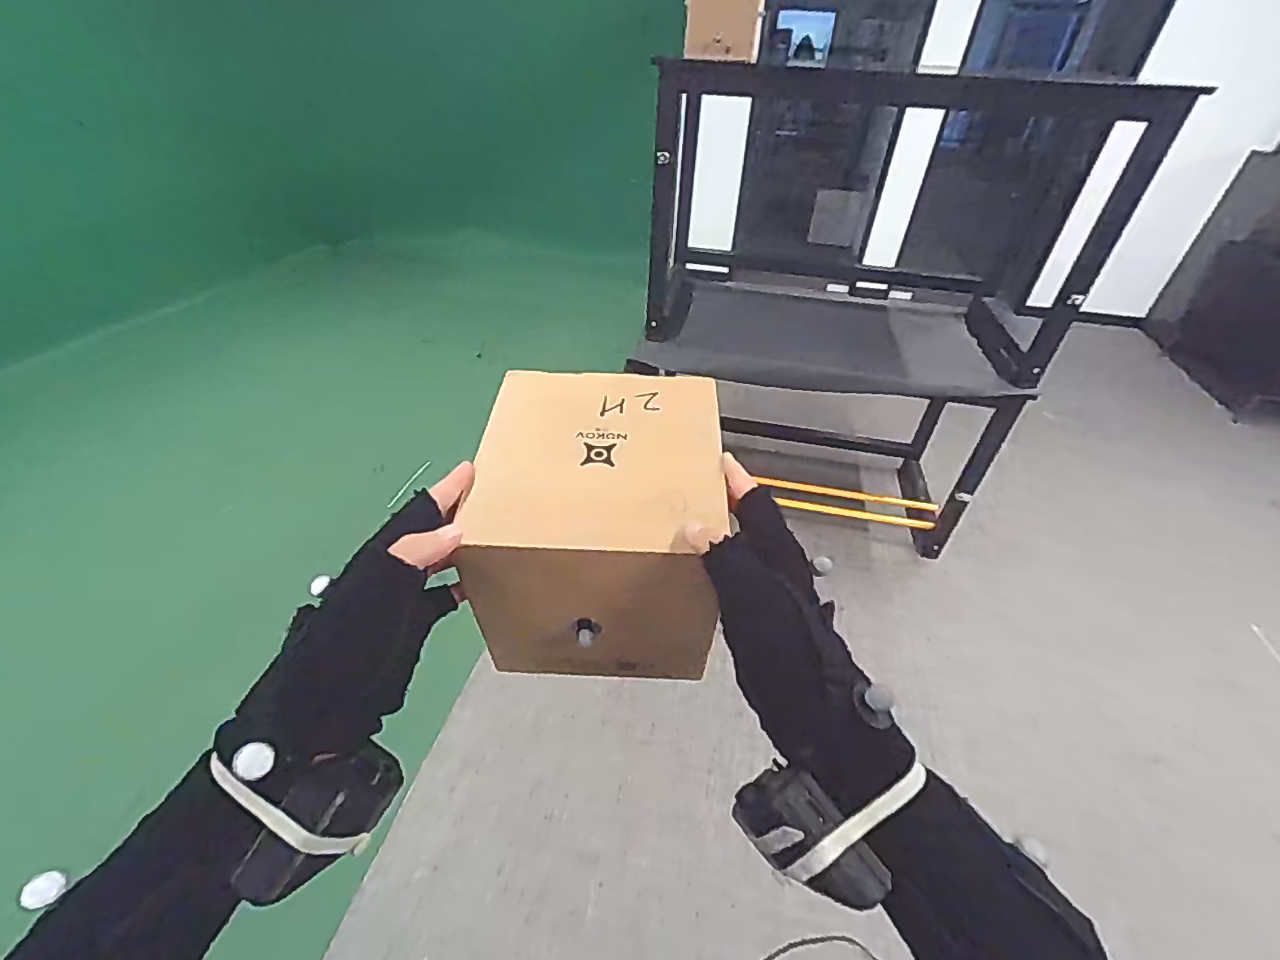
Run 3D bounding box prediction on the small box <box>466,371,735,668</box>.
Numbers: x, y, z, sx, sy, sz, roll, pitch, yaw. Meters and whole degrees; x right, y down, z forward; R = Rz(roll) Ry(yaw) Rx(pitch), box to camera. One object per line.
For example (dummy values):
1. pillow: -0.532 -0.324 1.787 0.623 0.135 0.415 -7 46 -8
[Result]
1. small box: -0.021 0.034 0.434 0.168 0.176 0.179 3 45 1
